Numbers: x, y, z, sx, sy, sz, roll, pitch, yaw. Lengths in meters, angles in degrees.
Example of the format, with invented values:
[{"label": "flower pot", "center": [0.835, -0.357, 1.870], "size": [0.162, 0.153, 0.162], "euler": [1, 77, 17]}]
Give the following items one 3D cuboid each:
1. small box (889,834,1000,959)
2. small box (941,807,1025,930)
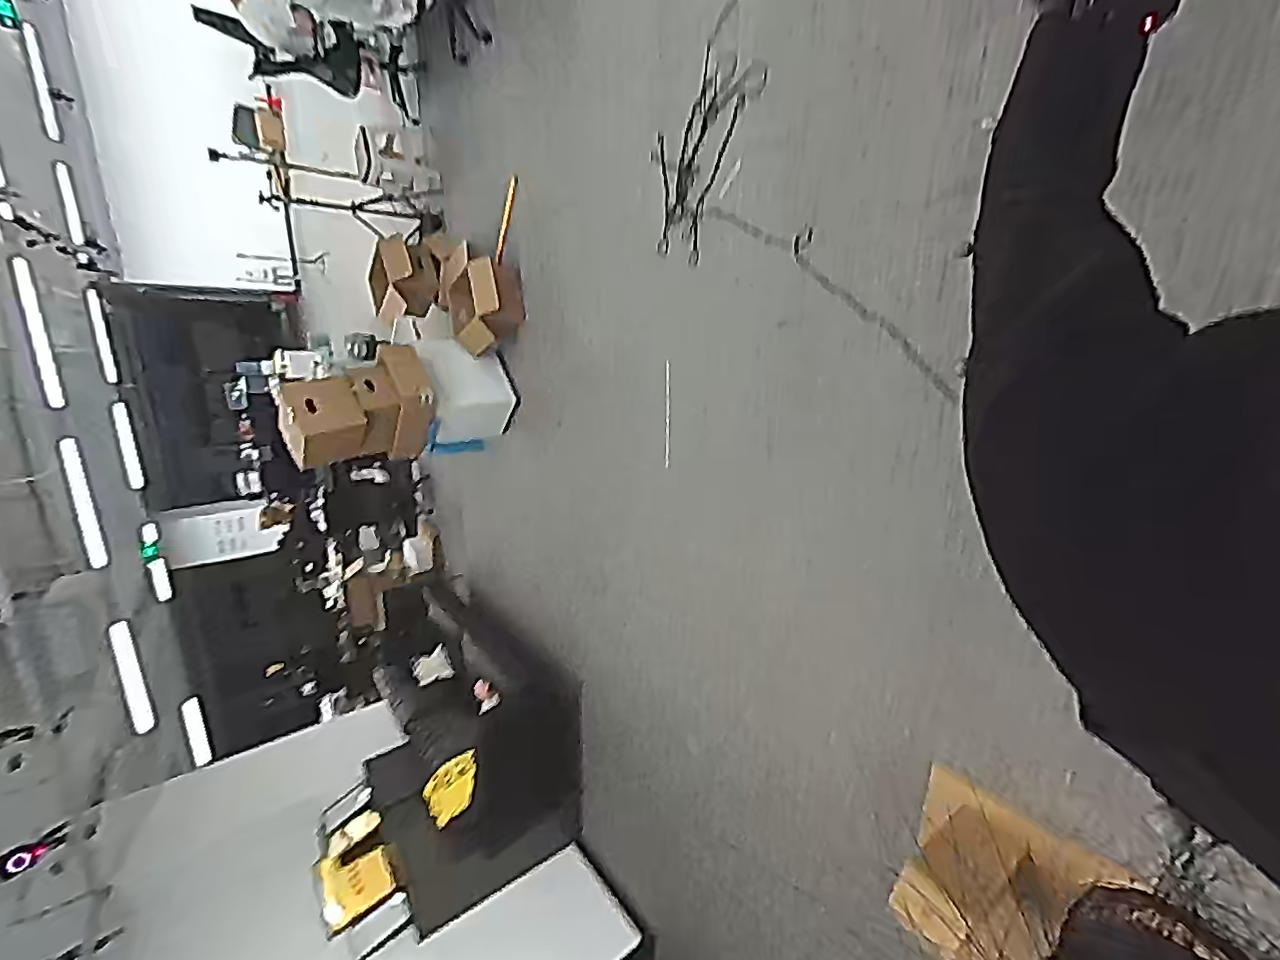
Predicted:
[{"label": "small box", "center": [0.769, 1.053, 1.363], "size": [0.168, 0.176, 0.179], "euler": [32, 122, 45]}, {"label": "small box", "center": [0.902, 1.035, 1.457], "size": [0.168, 0.176, 0.179], "euler": [29, 121, 47]}]
